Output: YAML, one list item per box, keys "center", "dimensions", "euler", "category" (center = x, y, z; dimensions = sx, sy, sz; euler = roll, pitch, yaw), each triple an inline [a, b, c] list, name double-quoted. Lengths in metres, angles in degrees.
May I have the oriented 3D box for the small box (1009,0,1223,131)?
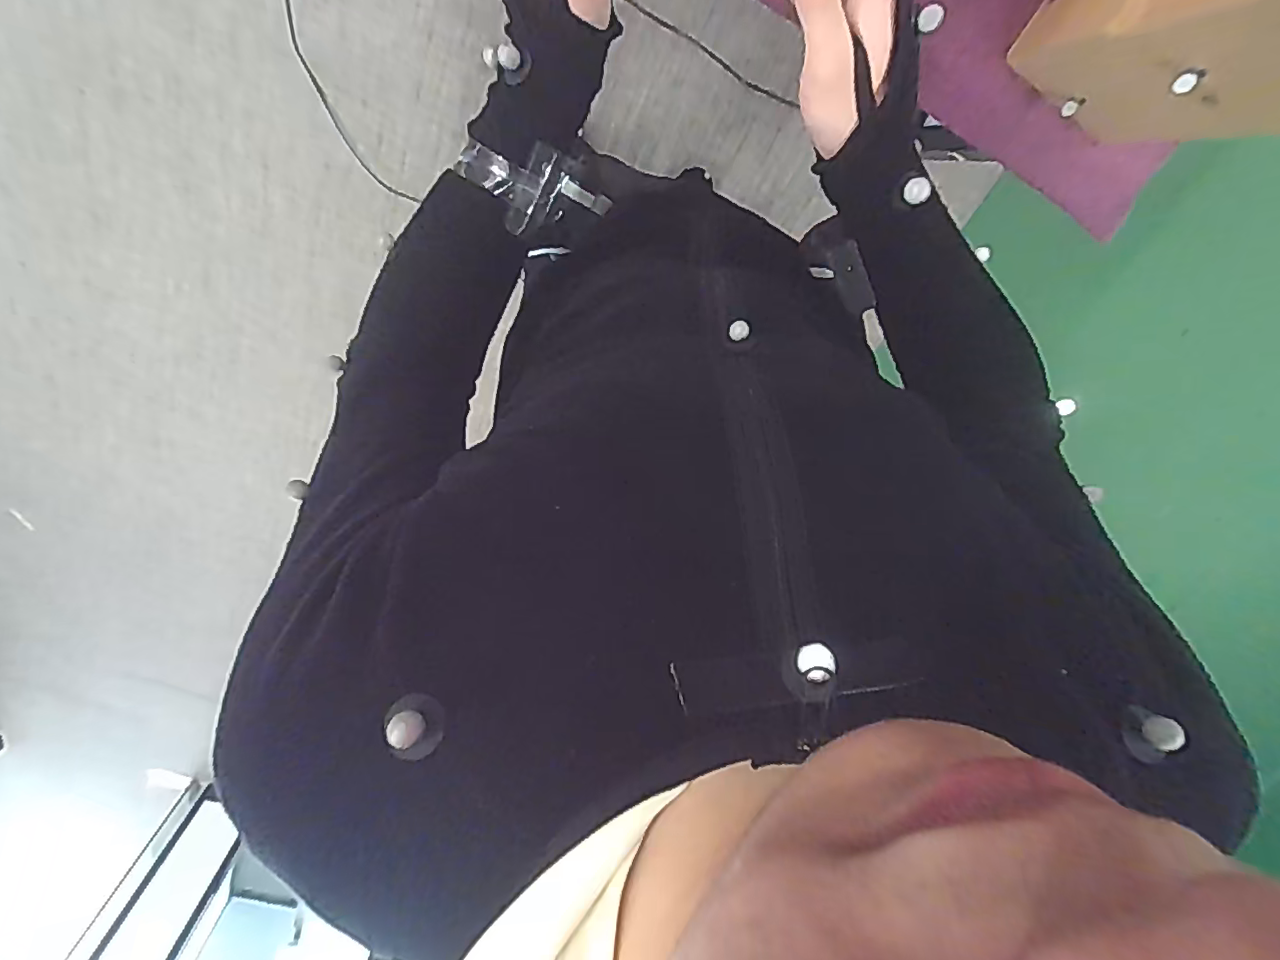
- center: [0.533, -0.482, 0.541]
  dimensions: [0.179, 0.176, 0.168]
  euler: [26, 117, -13]
  category: "small box"
